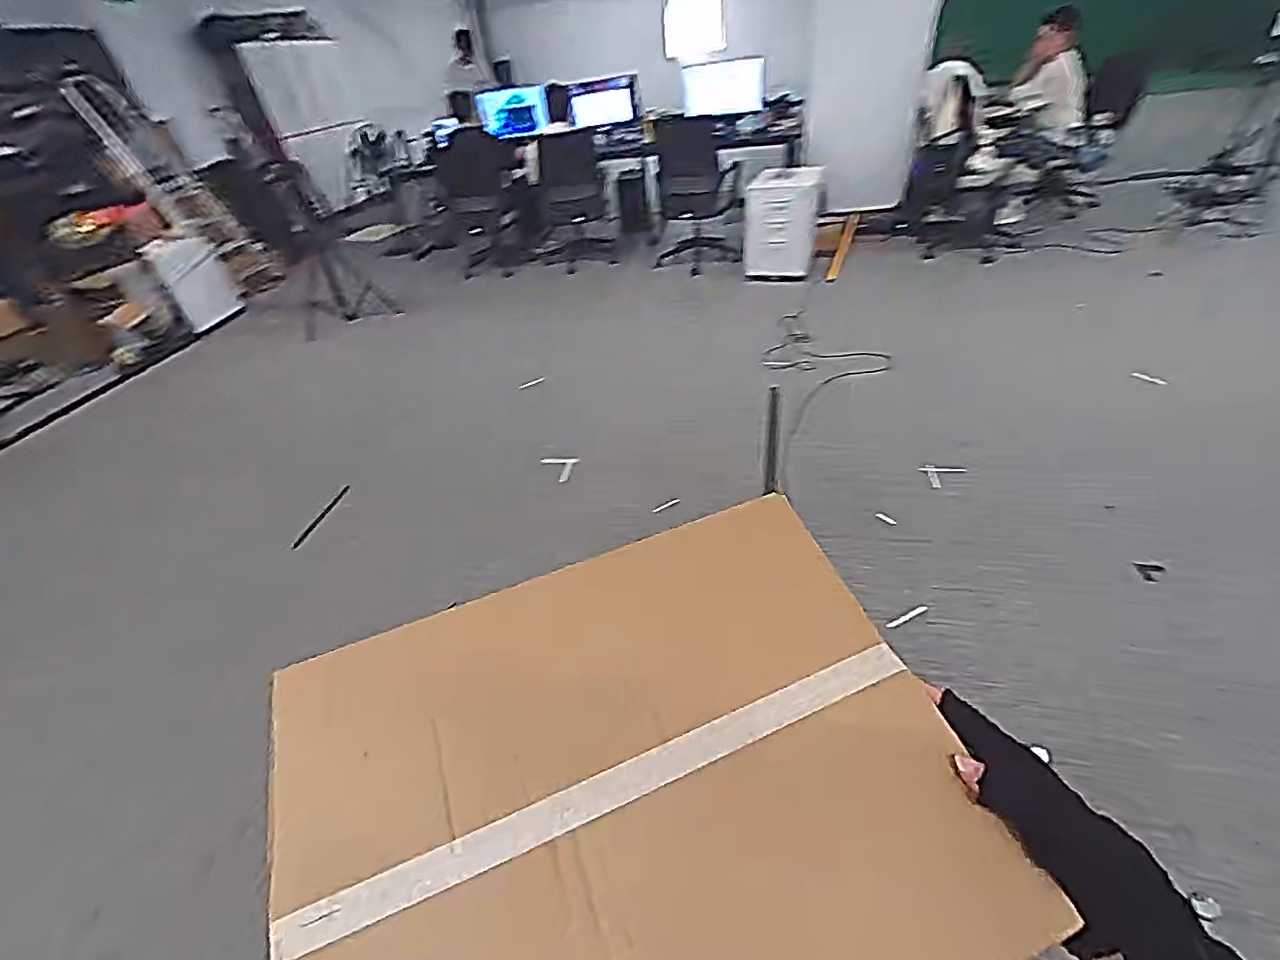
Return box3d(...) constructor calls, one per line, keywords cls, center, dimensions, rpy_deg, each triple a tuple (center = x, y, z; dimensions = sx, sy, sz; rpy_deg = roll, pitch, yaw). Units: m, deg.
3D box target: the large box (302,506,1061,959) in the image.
box3d(cls="large box", center=(0.003, 0.283, 0.460), dimensions=(0.408, 0.320, 0.320), rpy_deg=(-18, 53, -12))
